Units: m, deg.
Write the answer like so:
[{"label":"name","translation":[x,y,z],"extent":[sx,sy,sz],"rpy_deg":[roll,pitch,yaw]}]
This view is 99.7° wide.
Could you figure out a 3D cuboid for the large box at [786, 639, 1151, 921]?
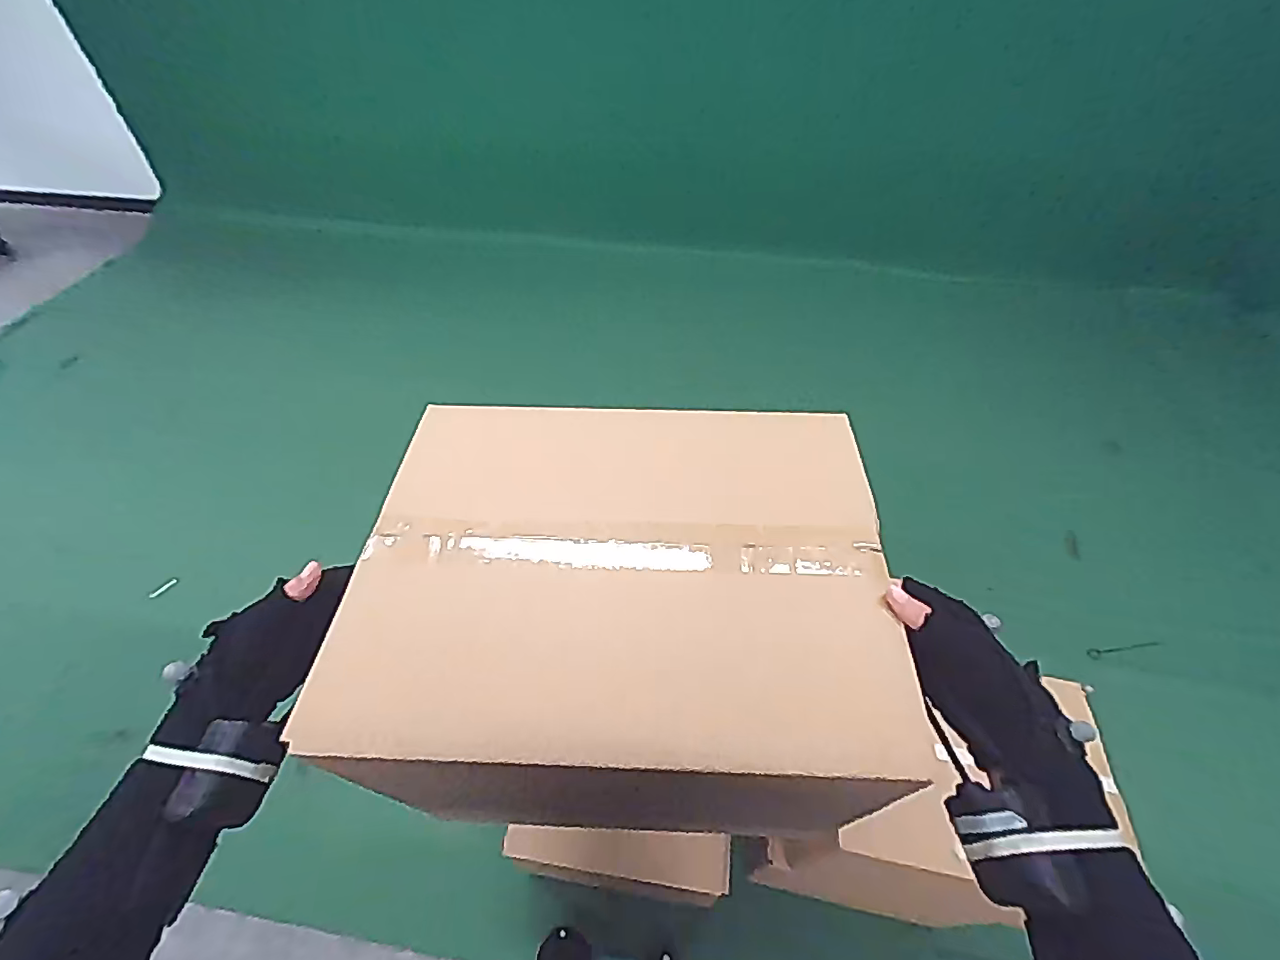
[{"label":"large box","translation":[0.482,0.508,0.917],"extent":[0.408,0.320,0.320],"rpy_deg":[9,51,6]}]
